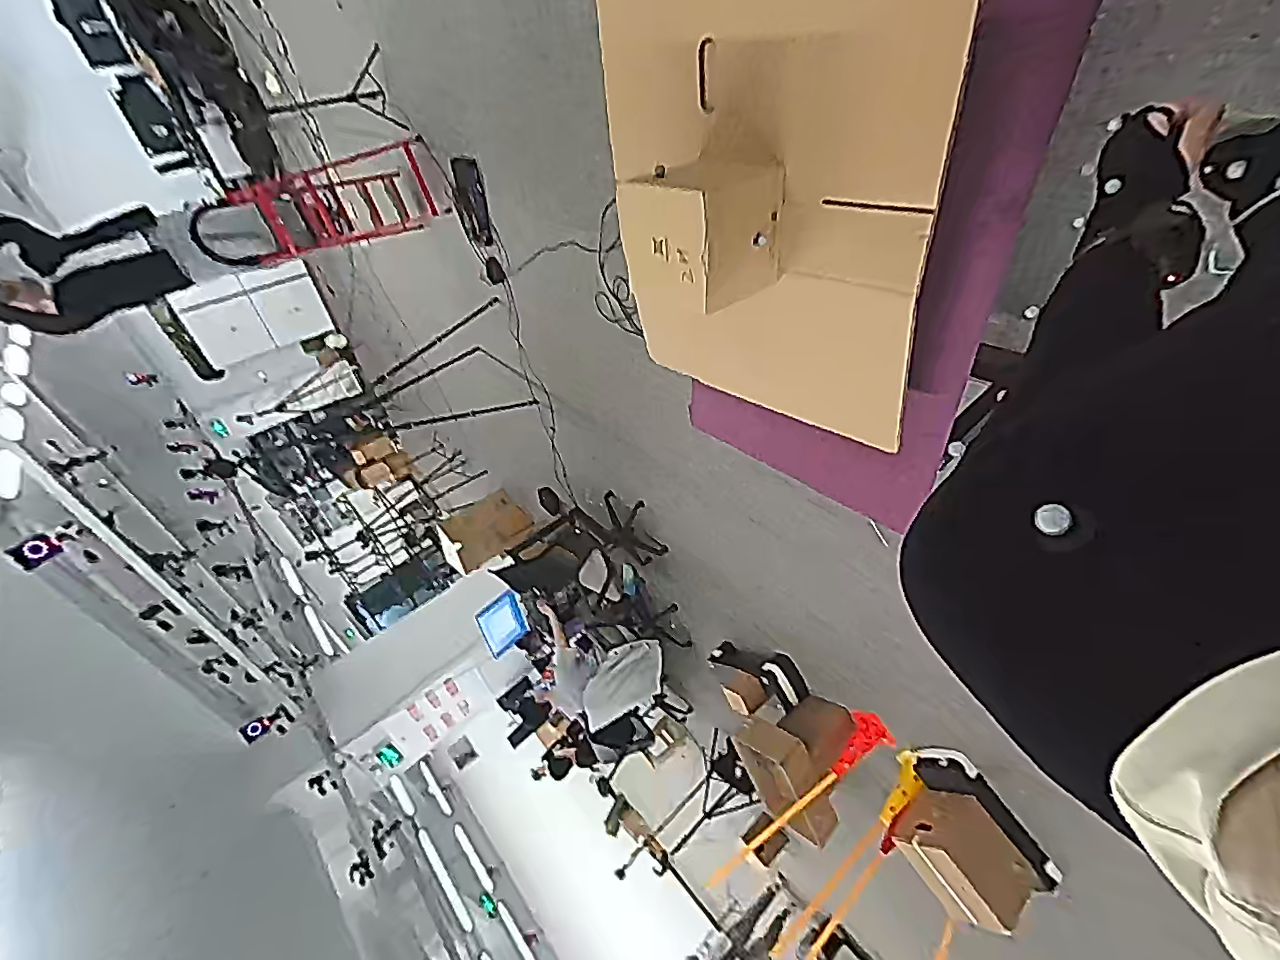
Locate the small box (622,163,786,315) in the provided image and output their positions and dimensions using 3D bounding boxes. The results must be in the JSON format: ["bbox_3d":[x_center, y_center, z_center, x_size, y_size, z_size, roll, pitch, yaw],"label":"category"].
[{"bbox_3d":[0.095,-0.375,0.827,0.179,0.176,0.168,32,142,38],"label":"small box"}]
